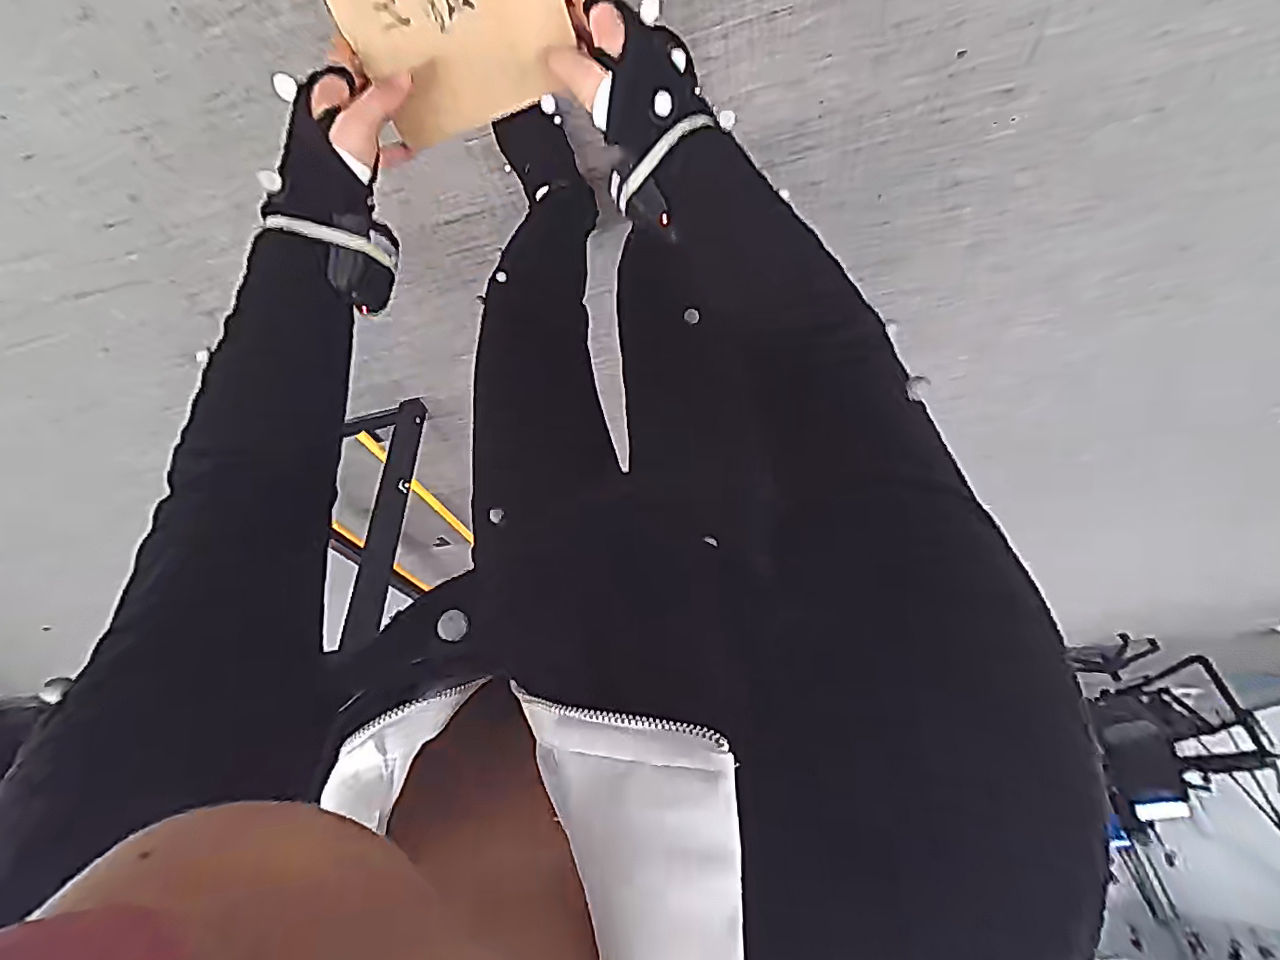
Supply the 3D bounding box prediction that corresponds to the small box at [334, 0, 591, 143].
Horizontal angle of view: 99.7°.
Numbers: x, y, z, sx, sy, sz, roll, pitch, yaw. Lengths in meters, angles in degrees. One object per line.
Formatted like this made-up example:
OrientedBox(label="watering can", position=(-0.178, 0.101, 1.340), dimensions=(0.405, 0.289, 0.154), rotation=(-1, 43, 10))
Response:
OrientedBox(label="small box", position=(-0.154, -0.435, 0.472), dimensions=(0.179, 0.176, 0.168), rotation=(-15, 136, 9))
